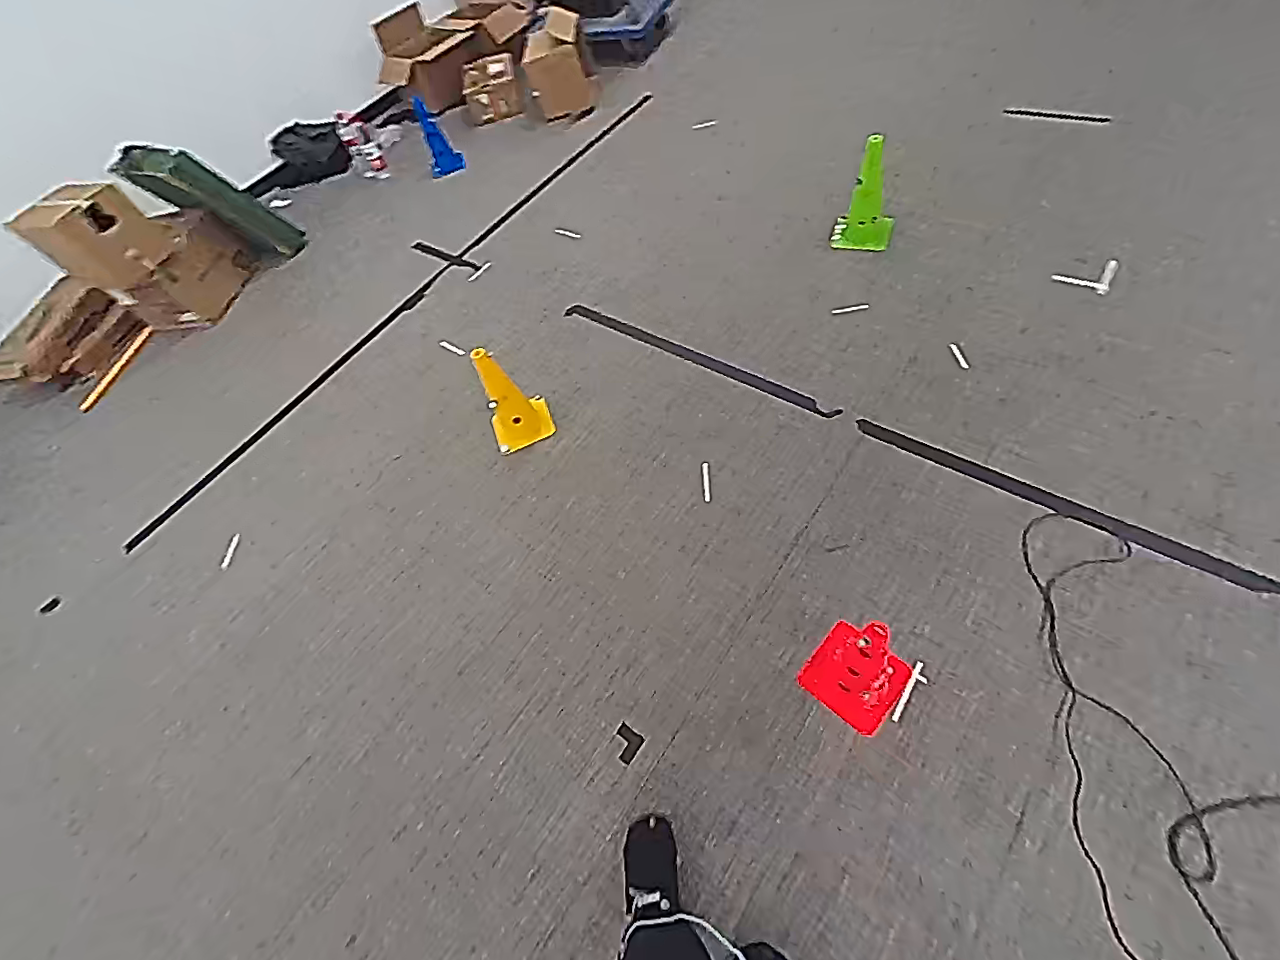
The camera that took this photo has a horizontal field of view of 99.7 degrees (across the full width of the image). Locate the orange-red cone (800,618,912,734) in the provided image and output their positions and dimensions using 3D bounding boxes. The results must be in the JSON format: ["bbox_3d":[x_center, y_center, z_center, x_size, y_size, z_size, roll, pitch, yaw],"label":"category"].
[{"bbox_3d":[0.468,0.366,1.131,0.198,0.360,0.199,-44,57,-16],"label":"orange-red cone"}]

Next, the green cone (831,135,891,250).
[{"bbox_3d":[0.830,-1.055,1.969,0.202,0.368,0.200,13,62,20],"label":"green cone"}]
